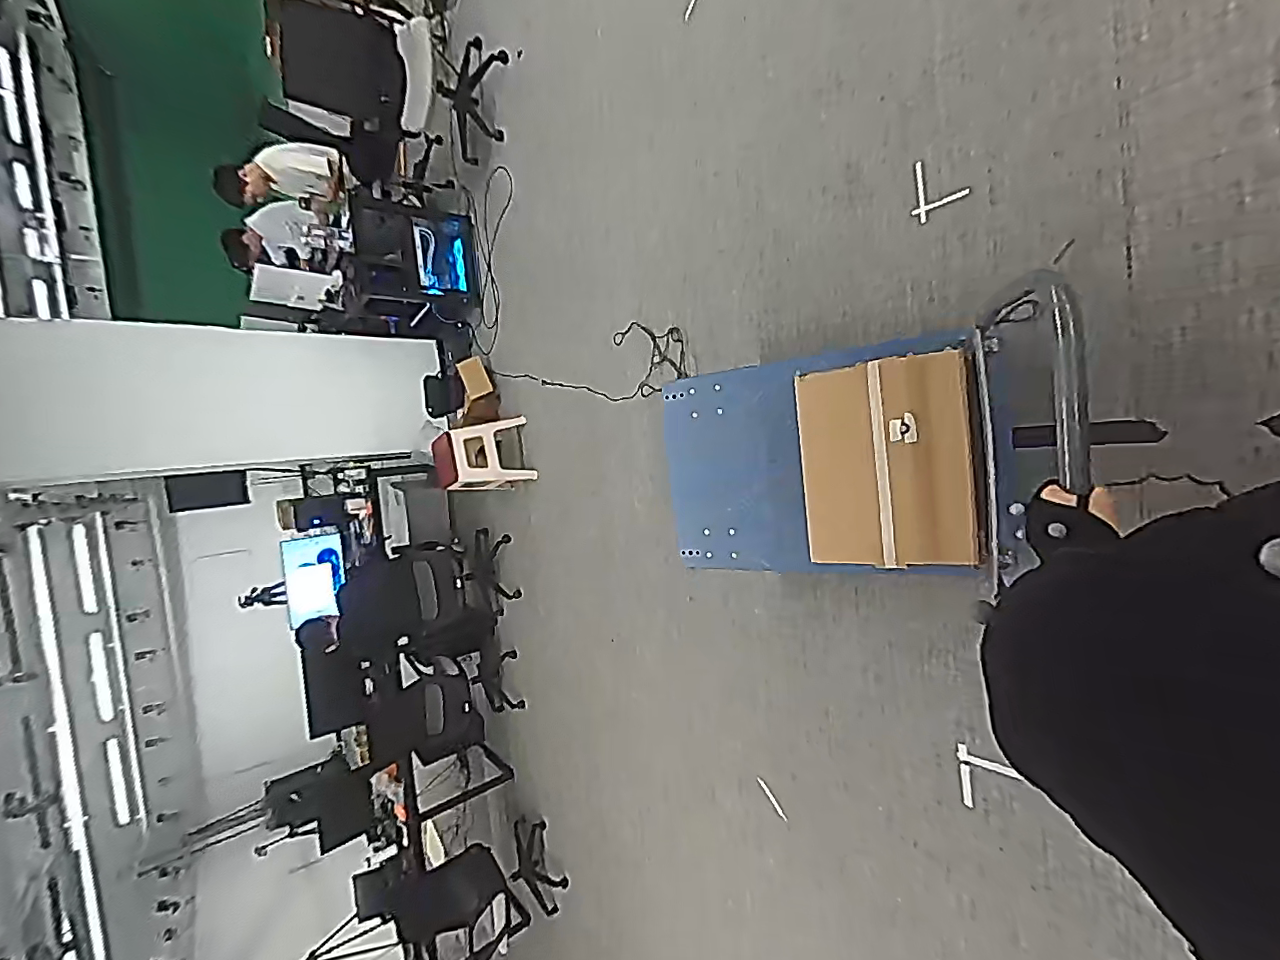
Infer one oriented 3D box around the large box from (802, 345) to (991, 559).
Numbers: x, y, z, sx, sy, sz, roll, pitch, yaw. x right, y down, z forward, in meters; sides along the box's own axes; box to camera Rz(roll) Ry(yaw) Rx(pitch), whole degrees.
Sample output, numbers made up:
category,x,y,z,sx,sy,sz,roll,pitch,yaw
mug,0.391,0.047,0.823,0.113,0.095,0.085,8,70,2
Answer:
category,x,y,z,sx,sy,sz,roll,pitch,yaw
large box,0.572,-0.052,1.198,0.320,0.320,0.408,-5,92,31
